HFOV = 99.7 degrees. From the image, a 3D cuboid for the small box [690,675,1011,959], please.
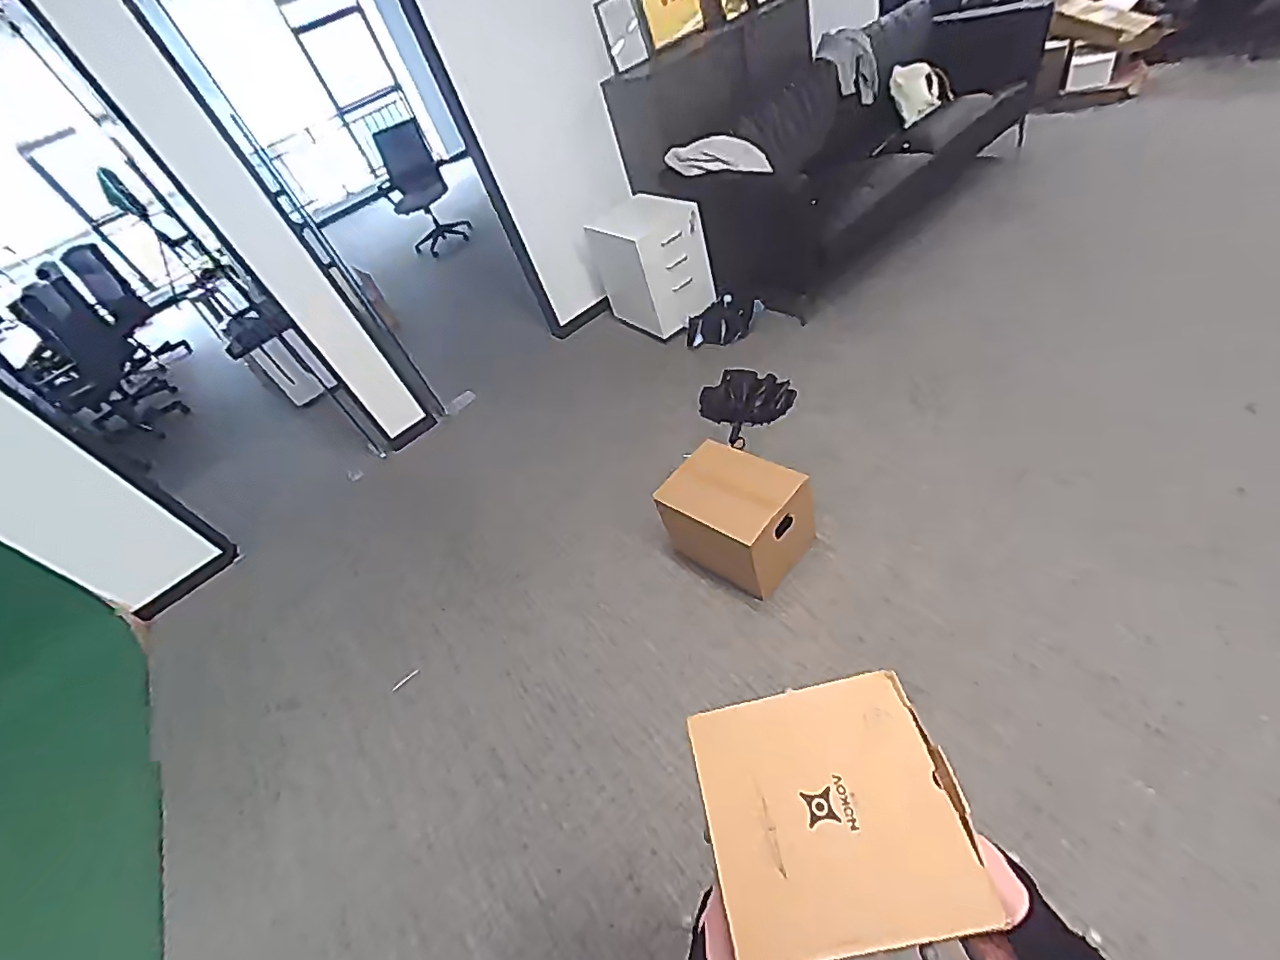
[{"bbox_3d":[0.154,0.288,0.452,0.179,0.176,0.168,-17,49,5],"label":"small box"}]
